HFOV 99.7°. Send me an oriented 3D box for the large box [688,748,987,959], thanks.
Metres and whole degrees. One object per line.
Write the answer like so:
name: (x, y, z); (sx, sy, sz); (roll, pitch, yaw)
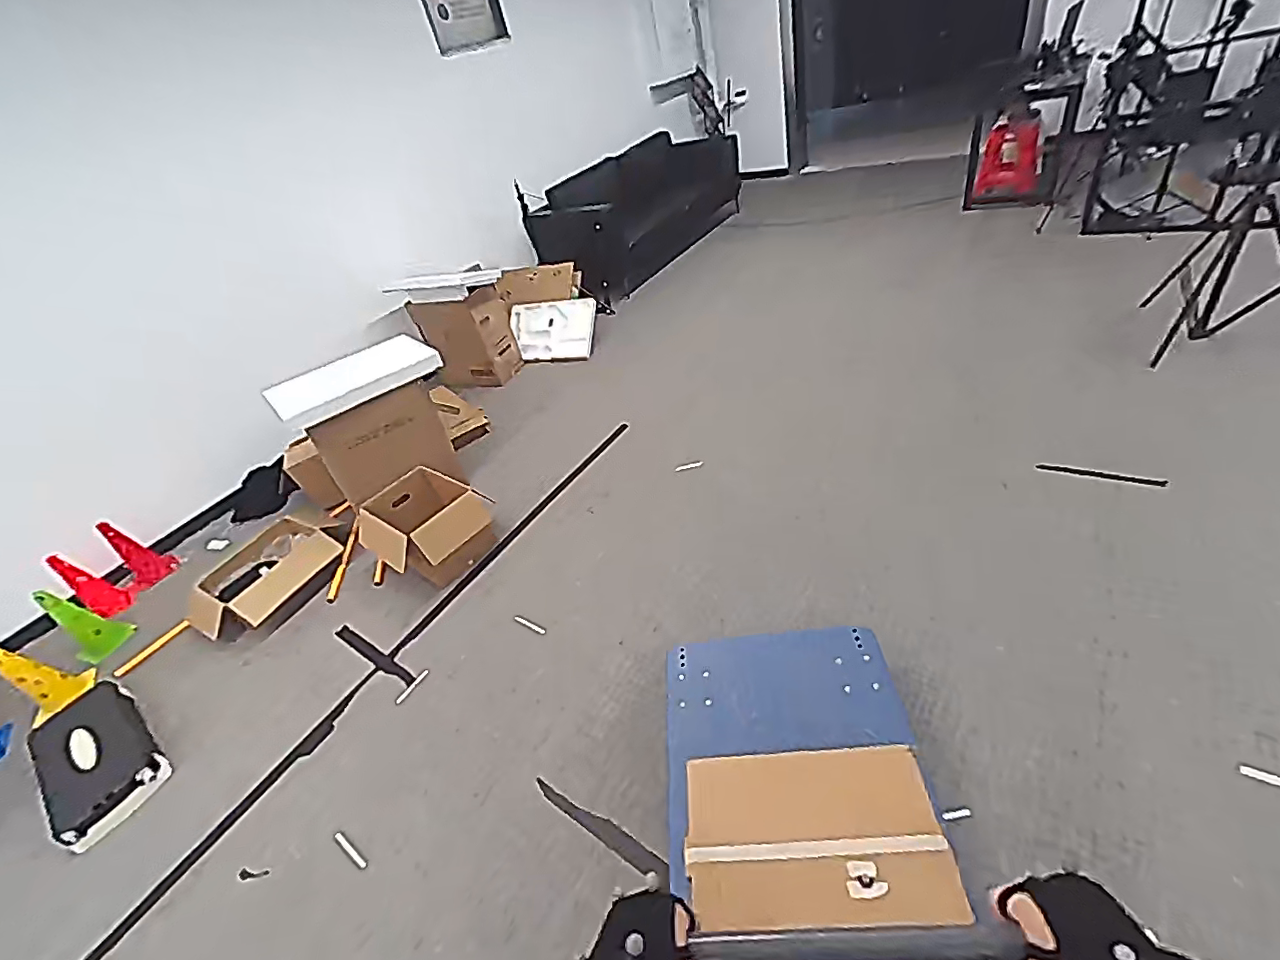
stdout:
large box: (0.309, 0.718, 0.961); (0.408, 0.320, 0.320); (-8, 38, 8)
